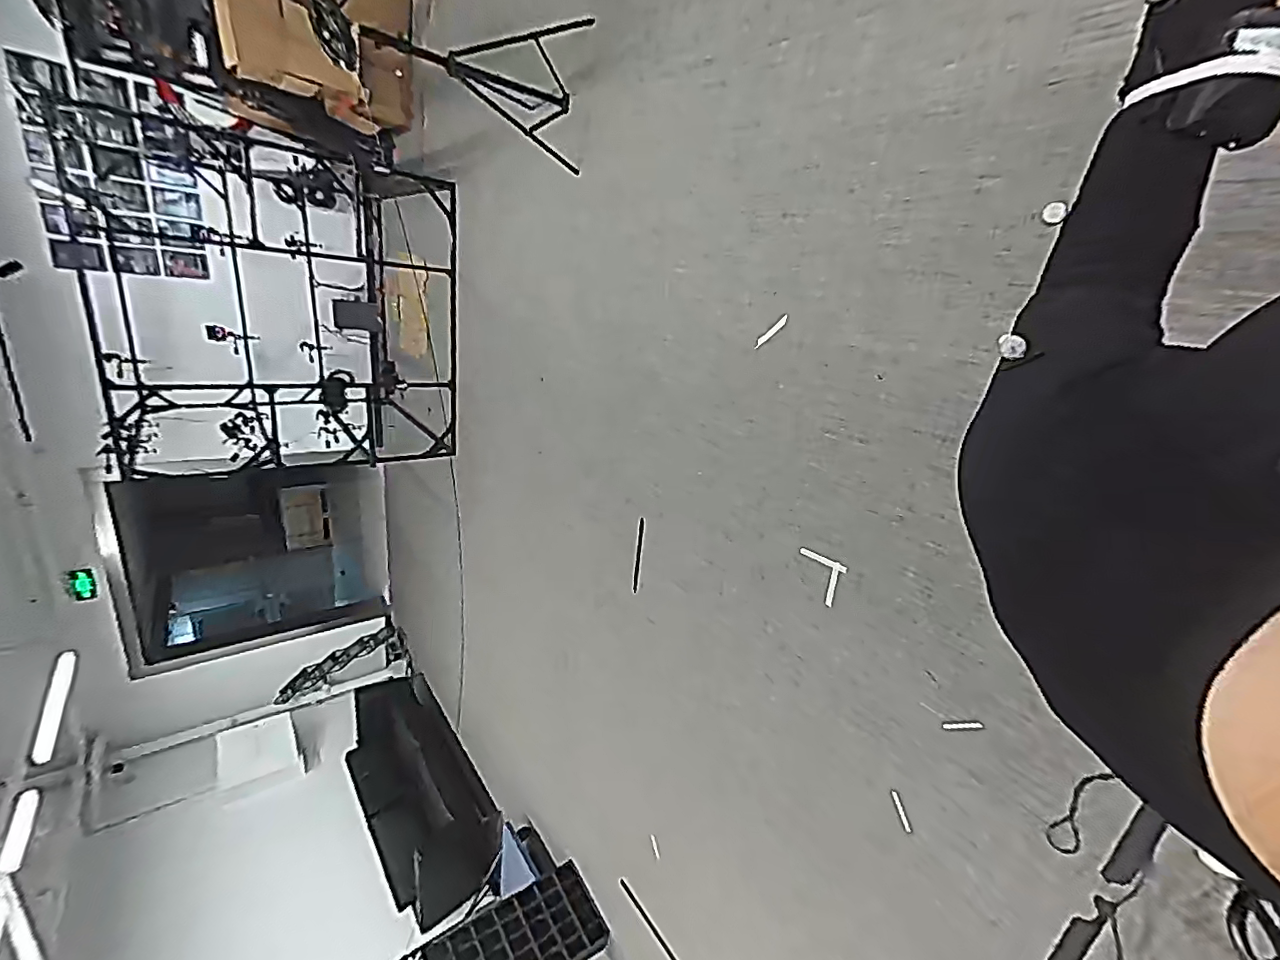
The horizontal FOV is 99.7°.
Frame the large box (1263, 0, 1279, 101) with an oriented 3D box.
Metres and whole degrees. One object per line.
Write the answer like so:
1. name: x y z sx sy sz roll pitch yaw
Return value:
1. large box: 0.651 -0.410 0.256 0.408 0.320 0.320 23 120 47
